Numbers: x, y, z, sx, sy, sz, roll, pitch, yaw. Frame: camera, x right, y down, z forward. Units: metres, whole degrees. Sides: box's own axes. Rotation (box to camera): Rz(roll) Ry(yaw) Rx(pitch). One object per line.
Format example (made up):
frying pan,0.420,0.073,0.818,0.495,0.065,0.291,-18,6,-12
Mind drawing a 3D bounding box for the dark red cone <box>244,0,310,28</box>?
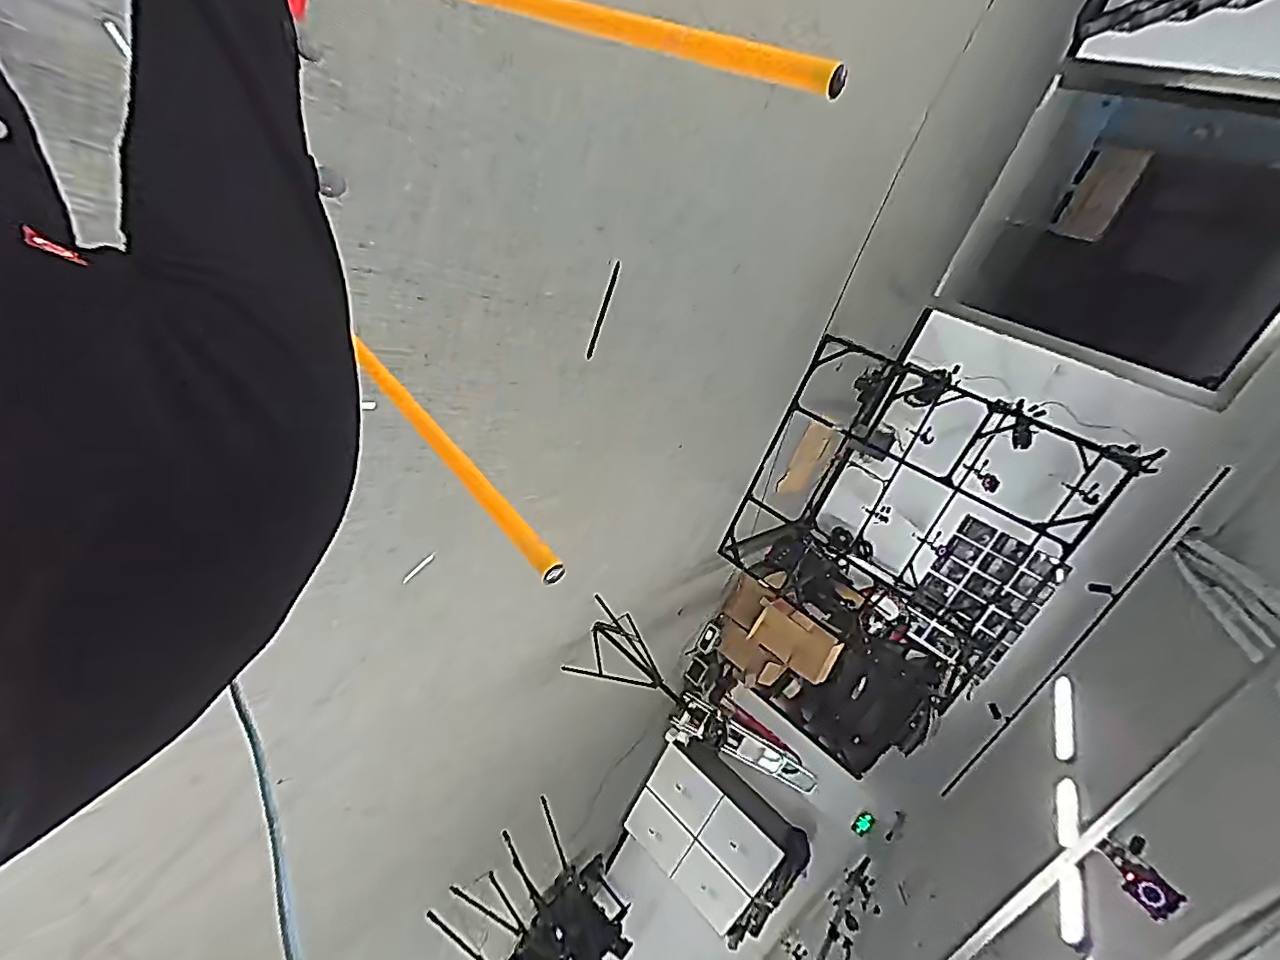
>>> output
dark red cone,-0.566,-0.878,0.880,0.201,0.394,0.202,-11,129,-55
